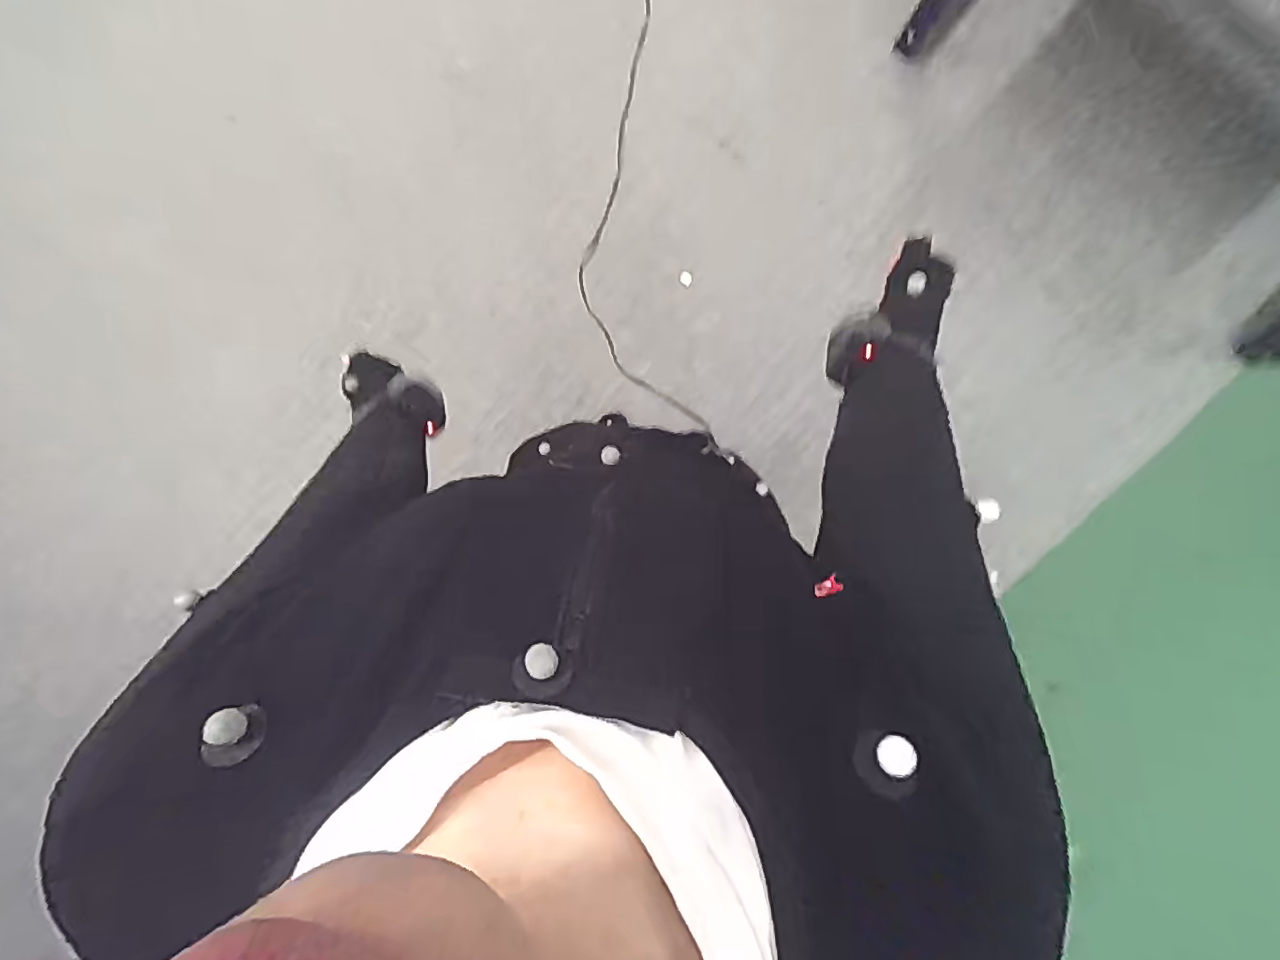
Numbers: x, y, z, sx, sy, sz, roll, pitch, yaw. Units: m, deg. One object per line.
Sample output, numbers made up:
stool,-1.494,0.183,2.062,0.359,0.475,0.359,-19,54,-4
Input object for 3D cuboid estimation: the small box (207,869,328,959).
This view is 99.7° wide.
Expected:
small box,-0.793,0.971,1.124,0.168,0.176,0.179,45,99,0
